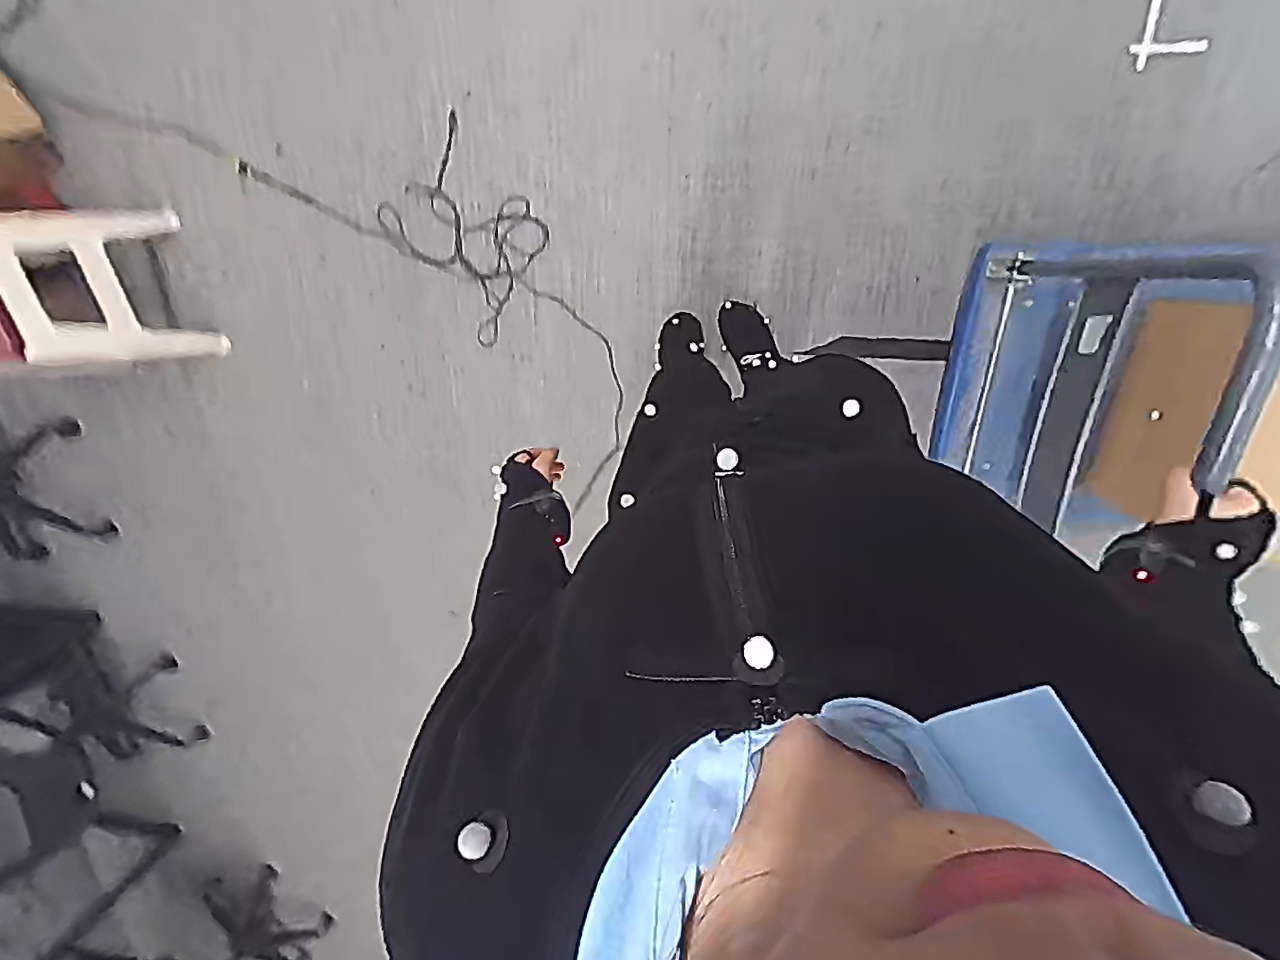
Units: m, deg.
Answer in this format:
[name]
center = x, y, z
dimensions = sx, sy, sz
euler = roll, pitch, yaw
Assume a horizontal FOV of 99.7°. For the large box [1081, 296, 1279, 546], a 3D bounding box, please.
[large box]
center = 1.112, -0.120, 0.990
dimensions = 0.320, 0.320, 0.408
euler = 4, 109, 7
